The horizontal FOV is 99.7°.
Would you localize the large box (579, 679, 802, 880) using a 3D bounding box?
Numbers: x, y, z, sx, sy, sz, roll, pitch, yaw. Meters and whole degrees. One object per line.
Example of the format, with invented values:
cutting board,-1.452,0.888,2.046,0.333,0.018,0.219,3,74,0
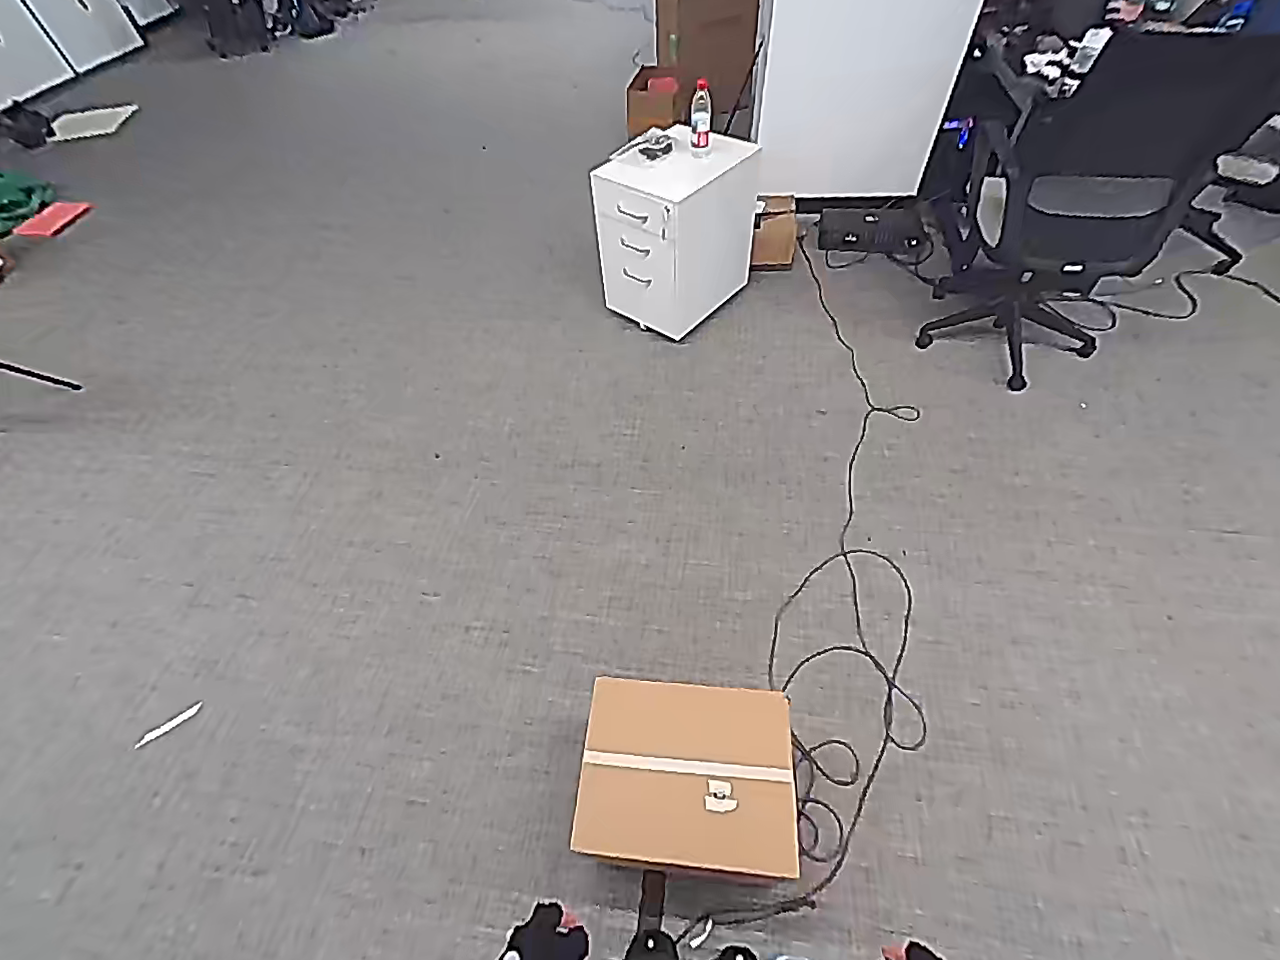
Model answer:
large box,0.107,0.647,1.164,0.408,0.320,0.320,2,53,7
